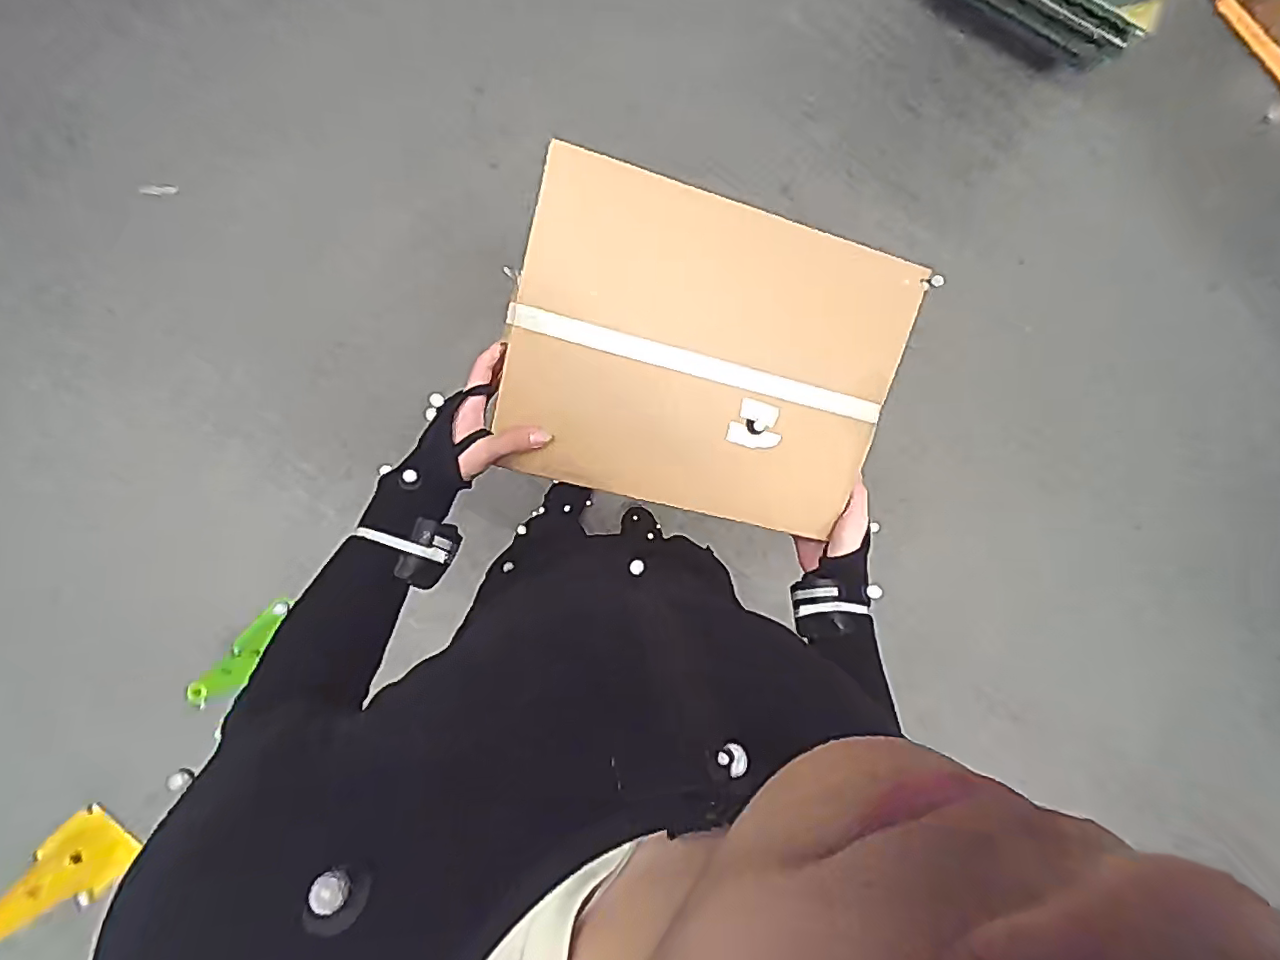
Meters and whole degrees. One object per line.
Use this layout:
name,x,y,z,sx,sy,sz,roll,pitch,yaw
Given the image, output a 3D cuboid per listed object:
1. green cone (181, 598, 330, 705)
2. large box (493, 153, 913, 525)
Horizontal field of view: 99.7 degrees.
green cone,-0.999,0.465,1.360,0.200,0.368,0.202,43,87,-4
large box,0.045,-0.163,0.711,0.408,0.320,0.320,12,104,-11
